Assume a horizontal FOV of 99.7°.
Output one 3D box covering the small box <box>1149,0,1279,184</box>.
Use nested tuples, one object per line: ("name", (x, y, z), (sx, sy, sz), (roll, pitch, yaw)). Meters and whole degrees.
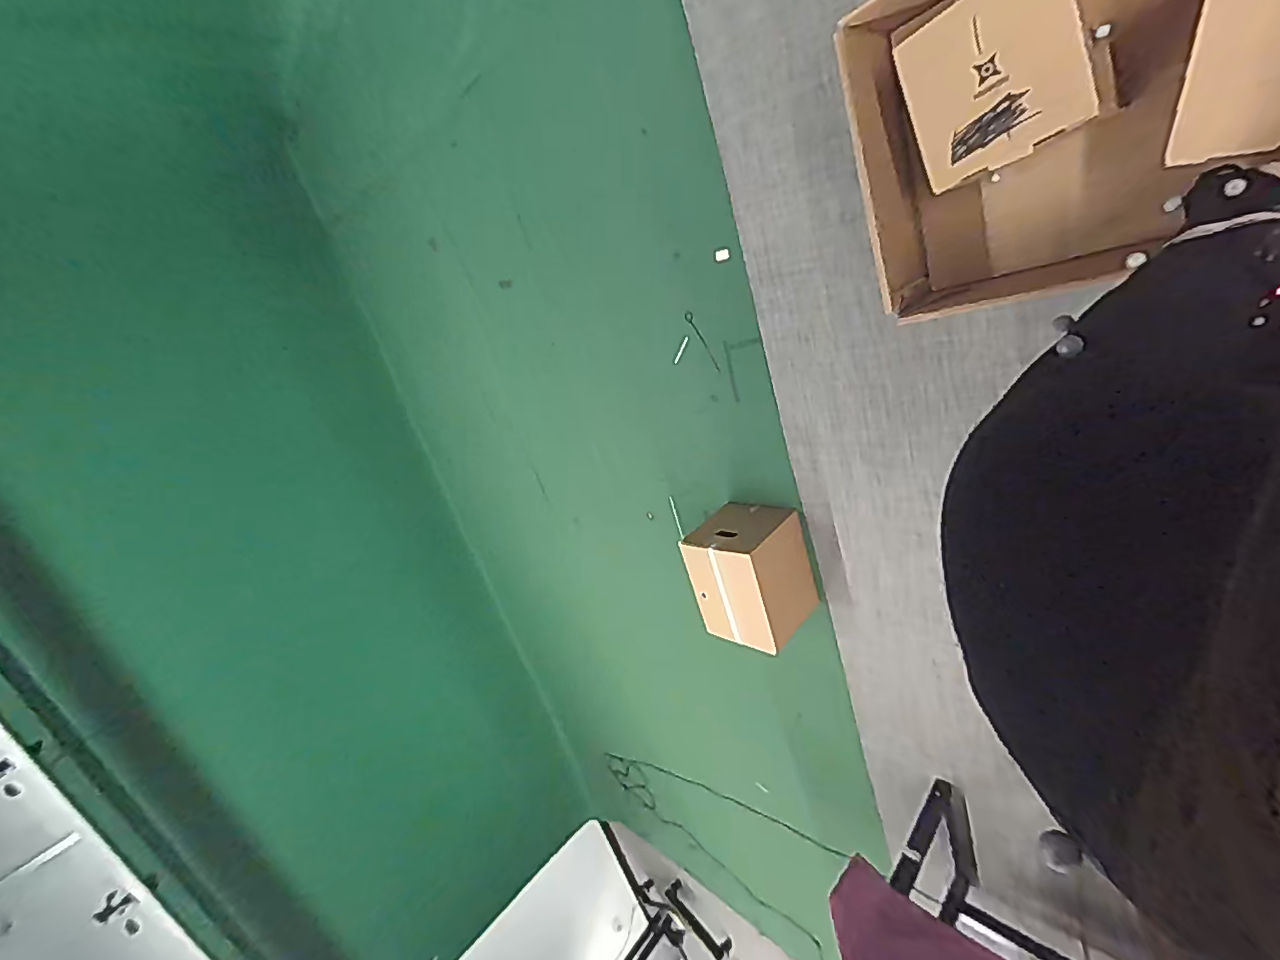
("small box", (0.618, -0.394, 0.504), (0.168, 0.176, 0.179), (17, 128, 41))
